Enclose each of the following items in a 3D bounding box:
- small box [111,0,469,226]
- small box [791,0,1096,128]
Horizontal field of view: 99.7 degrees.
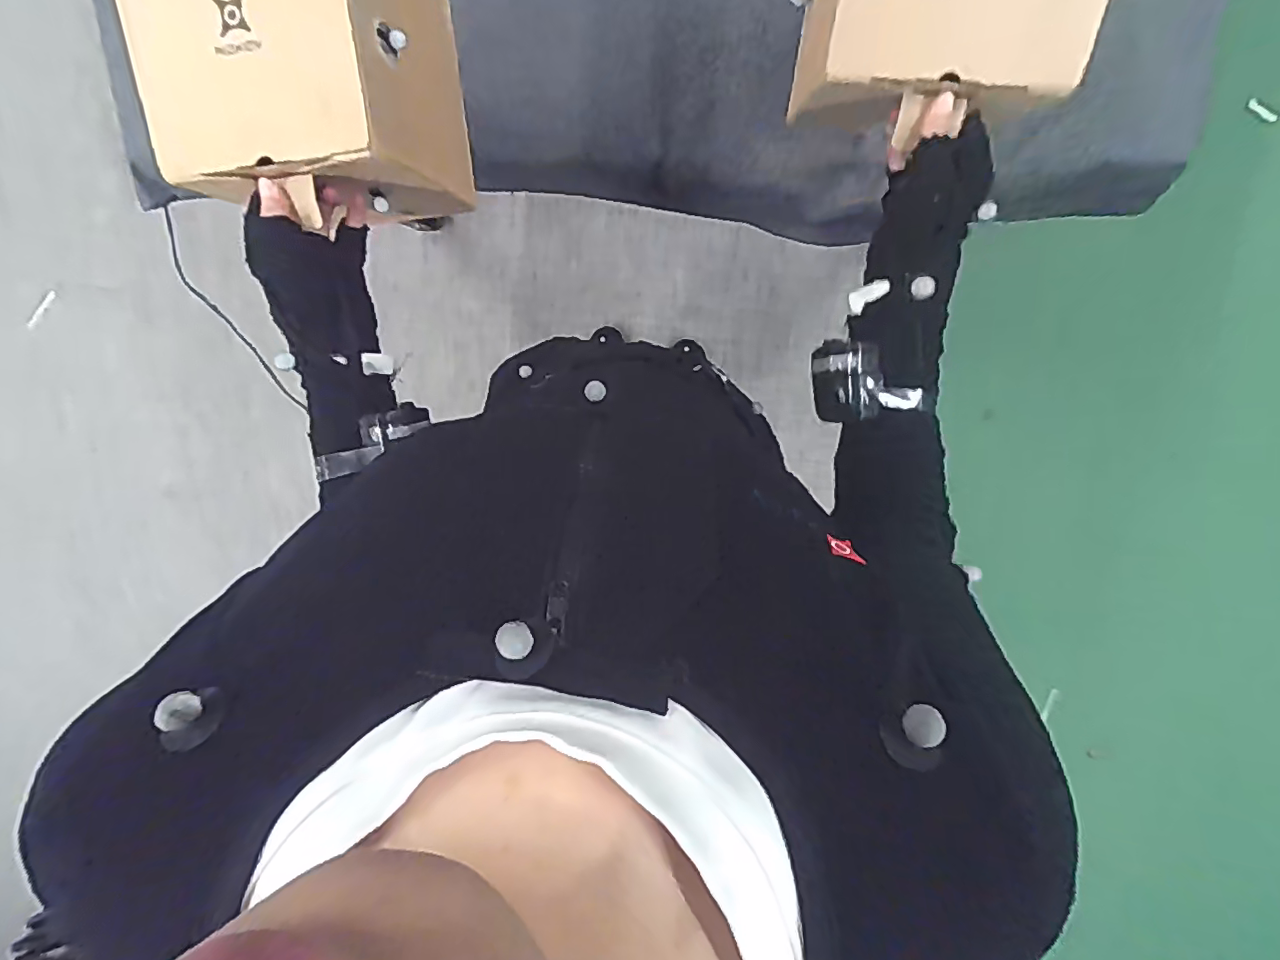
[{"bbox_3d":[-0.253,-0.312,0.426,0.168,0.176,0.179,-3,102,8],"label":"small box"},{"bbox_3d":[0.217,-0.378,0.400,0.168,0.176,0.179,7,115,3],"label":"small box"}]
